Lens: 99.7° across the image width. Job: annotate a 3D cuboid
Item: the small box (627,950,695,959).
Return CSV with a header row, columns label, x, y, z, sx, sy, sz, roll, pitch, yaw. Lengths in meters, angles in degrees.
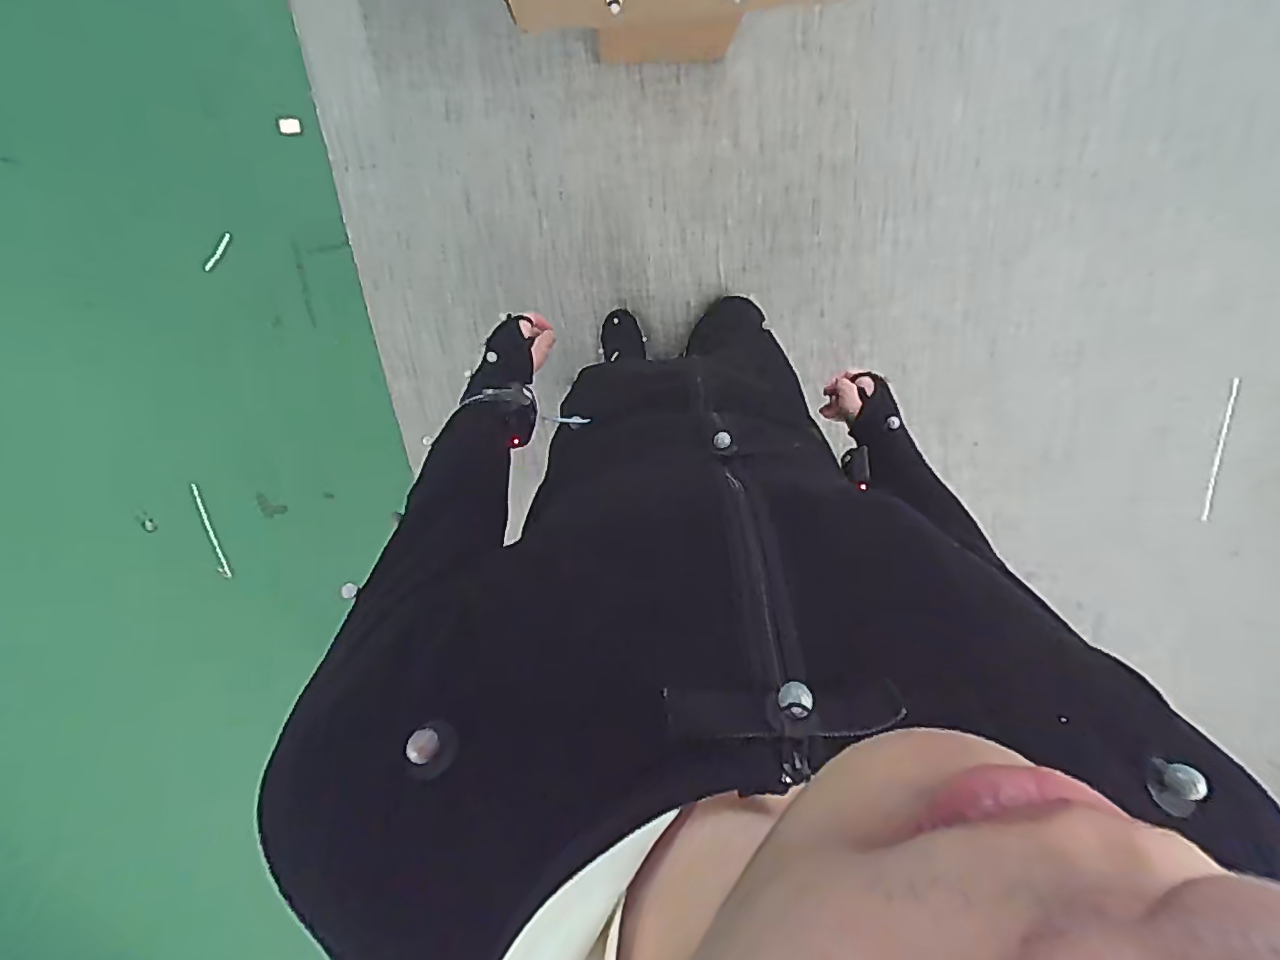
label,x,y,z,sx,sy,sz,roll,pitch,yaw
small box,0.058,1.220,1.226,0.168,0.176,0.179,-6,109,-1
